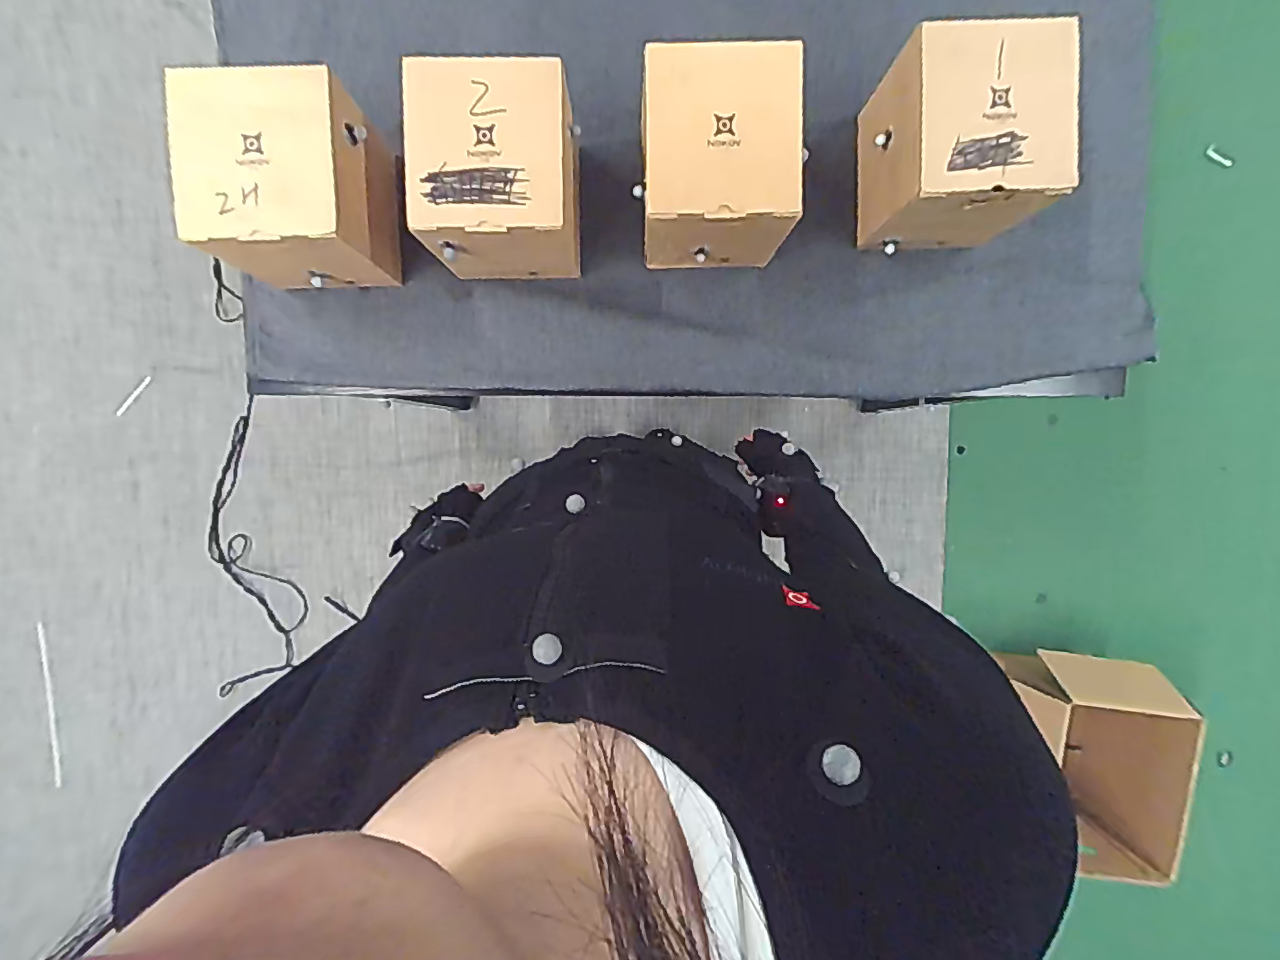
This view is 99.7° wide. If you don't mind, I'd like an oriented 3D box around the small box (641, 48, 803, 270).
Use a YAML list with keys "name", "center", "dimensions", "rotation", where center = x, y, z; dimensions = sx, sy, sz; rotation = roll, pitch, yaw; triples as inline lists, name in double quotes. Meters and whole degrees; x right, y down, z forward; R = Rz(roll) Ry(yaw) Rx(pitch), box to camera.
- name: "small box"
  center: [0.087, -0.367, 0.647]
  dimensions: [0.168, 0.176, 0.179]
  rotation: [-2, 95, -1]

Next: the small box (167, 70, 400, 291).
- name: "small box"
  center: [-0.400, -0.336, 0.636]
  dimensions: [0.168, 0.176, 0.179]
  rotation: [-2, 93, -2]

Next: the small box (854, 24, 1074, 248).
- name: "small box"
  center: [0.369, -0.389, 0.646]
  dimensions: [0.168, 0.176, 0.179]
  rotation: [-2, 93, -1]
